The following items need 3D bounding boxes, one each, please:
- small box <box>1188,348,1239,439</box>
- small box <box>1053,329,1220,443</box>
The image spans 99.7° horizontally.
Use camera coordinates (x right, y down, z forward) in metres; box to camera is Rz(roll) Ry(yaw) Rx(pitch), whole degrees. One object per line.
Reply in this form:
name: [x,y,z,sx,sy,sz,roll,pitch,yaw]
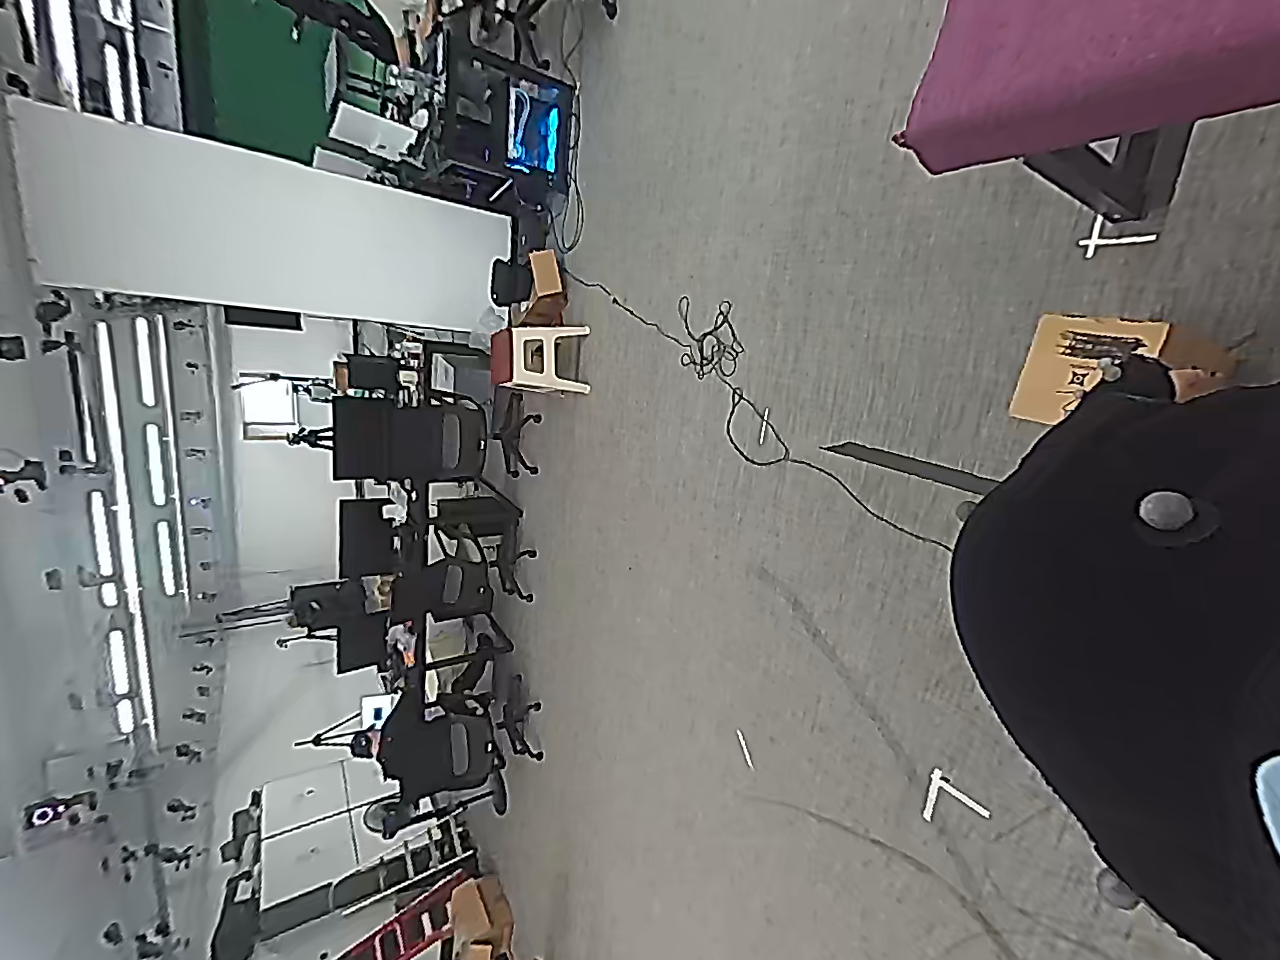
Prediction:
small box: [1.034,-0.184,1.079,0.168,0.176,0.179,34,120,49]
small box: [0.902,-0.171,0.981,0.168,0.176,0.179,28,115,52]
